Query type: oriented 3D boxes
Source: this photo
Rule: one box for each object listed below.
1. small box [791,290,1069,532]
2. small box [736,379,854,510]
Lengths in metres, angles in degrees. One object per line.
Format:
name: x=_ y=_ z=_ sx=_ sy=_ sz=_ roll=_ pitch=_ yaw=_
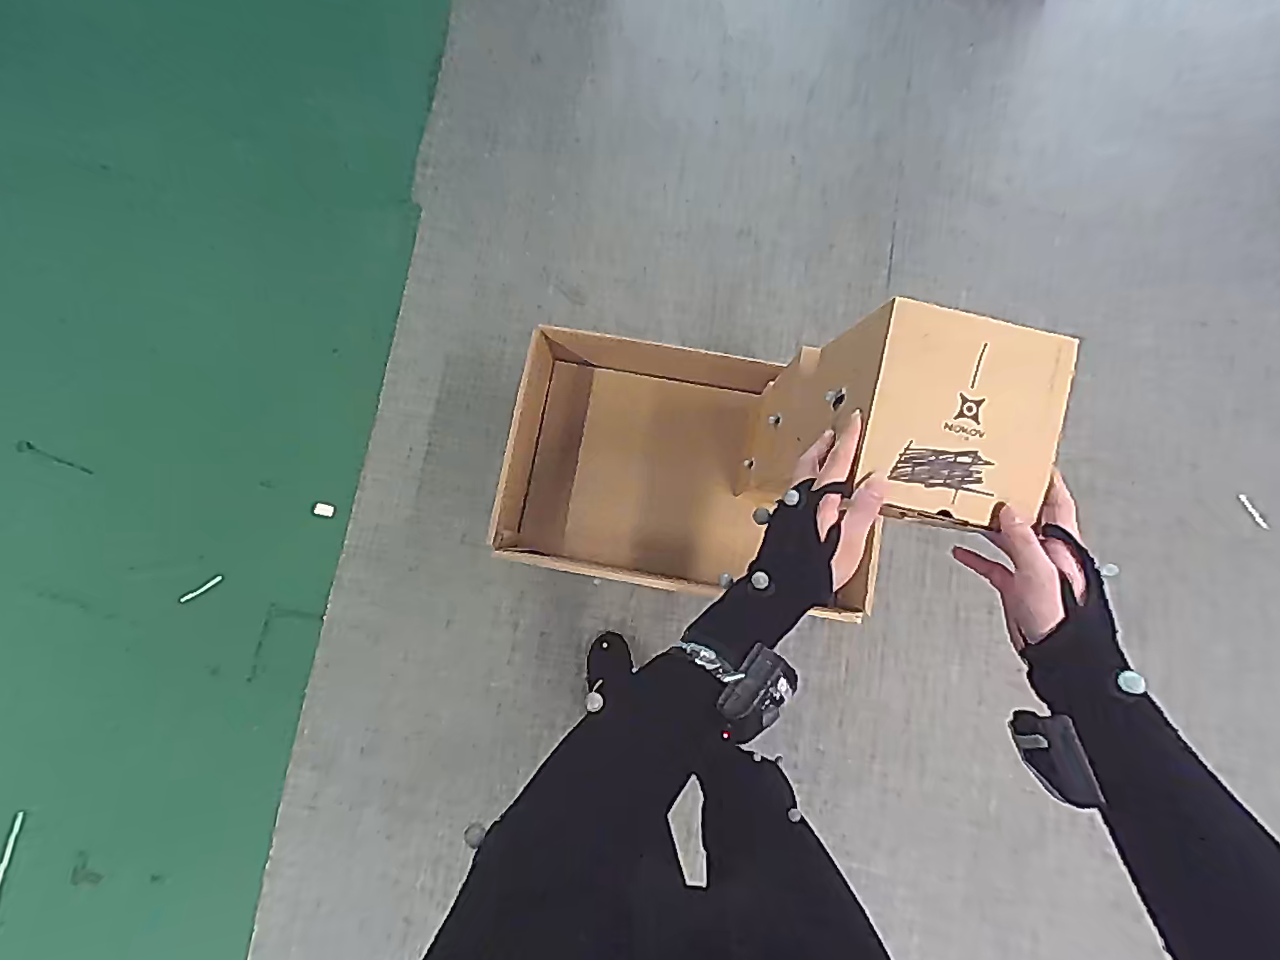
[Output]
small box: x=0.264 y=-0.057 z=0.535 sx=0.168 sy=0.176 sz=0.179 roll=13 pitch=89 yaw=-2
small box: x=0.267 y=-0.052 z=0.925 sx=0.168 sy=0.176 sz=0.179 roll=11 pitch=83 yaw=2
